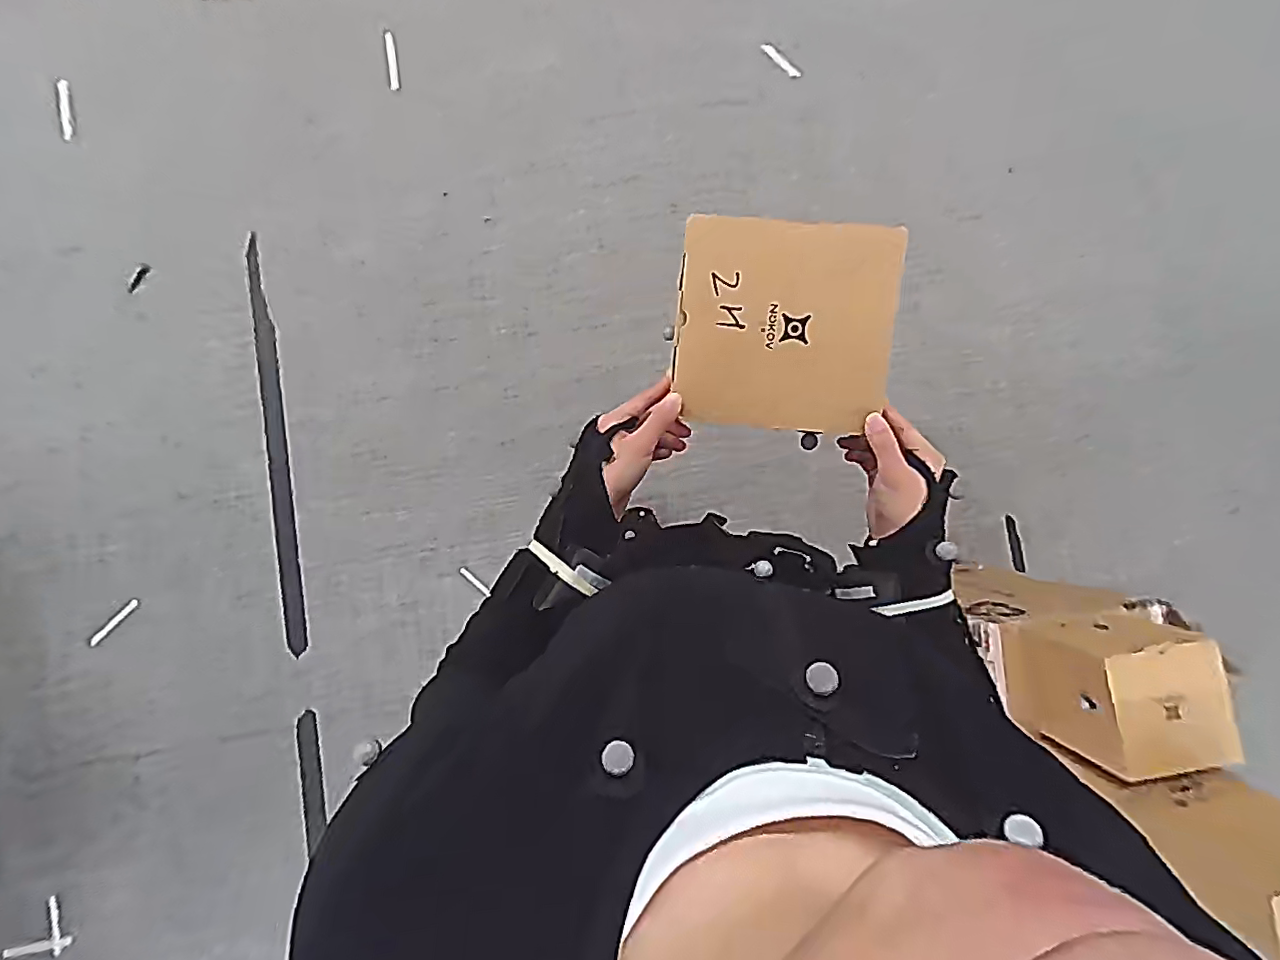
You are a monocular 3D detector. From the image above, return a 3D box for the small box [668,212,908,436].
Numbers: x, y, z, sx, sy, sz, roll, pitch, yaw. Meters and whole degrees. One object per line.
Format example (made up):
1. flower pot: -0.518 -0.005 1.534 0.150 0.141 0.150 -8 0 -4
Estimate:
1. small box: 0.123 -0.137 0.517 0.179 0.176 0.168 6 98 4
